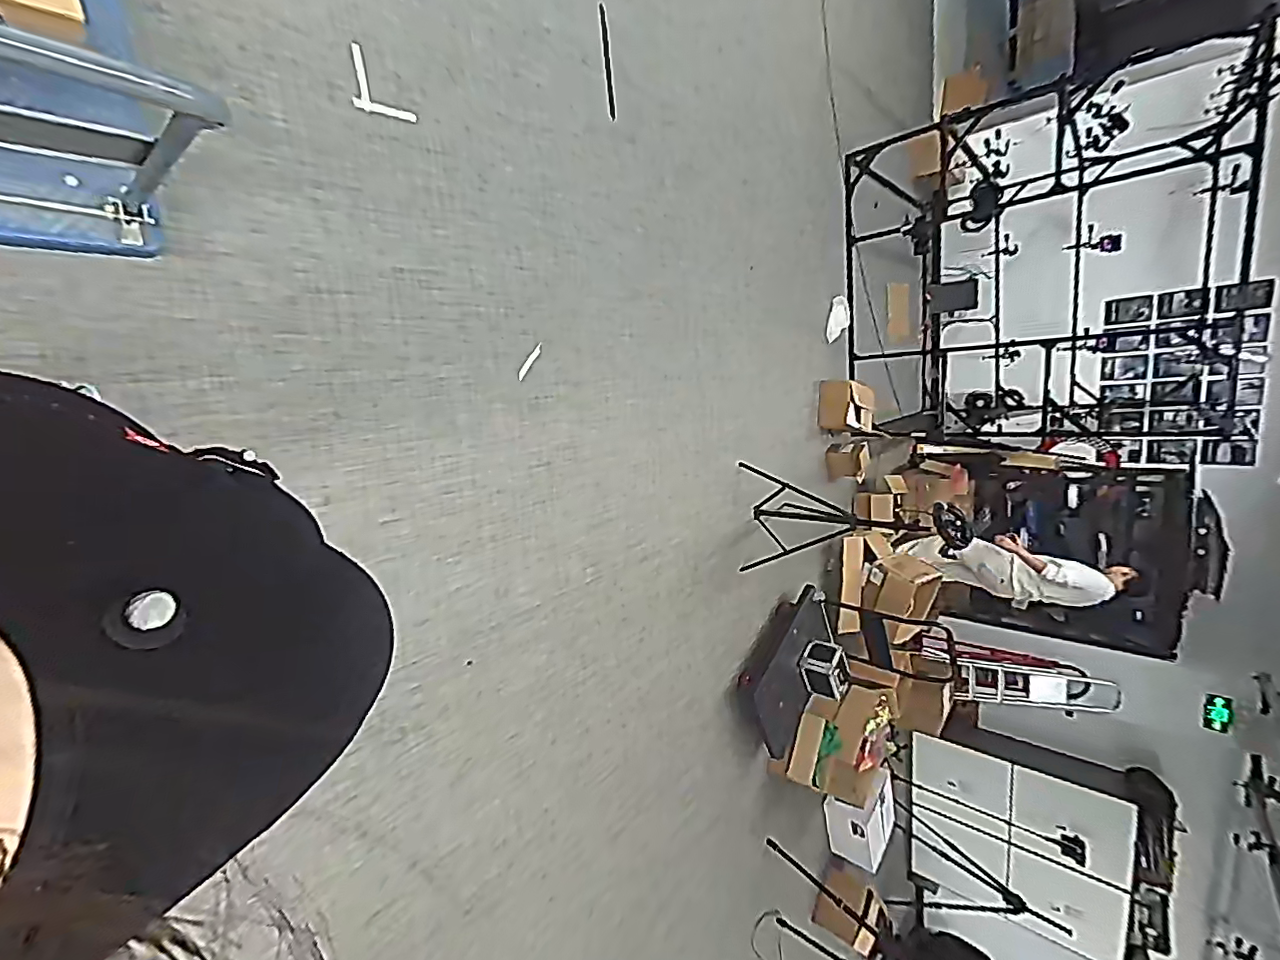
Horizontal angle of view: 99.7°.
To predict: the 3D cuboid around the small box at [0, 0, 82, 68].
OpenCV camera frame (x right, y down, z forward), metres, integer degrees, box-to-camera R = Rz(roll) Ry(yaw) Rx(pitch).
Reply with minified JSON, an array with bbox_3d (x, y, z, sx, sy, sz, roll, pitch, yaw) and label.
[{"bbox_3d":[-0.964,-0.745,0.788,0.179,0.176,0.168,-21,109,-46],"label":"small box"}]
